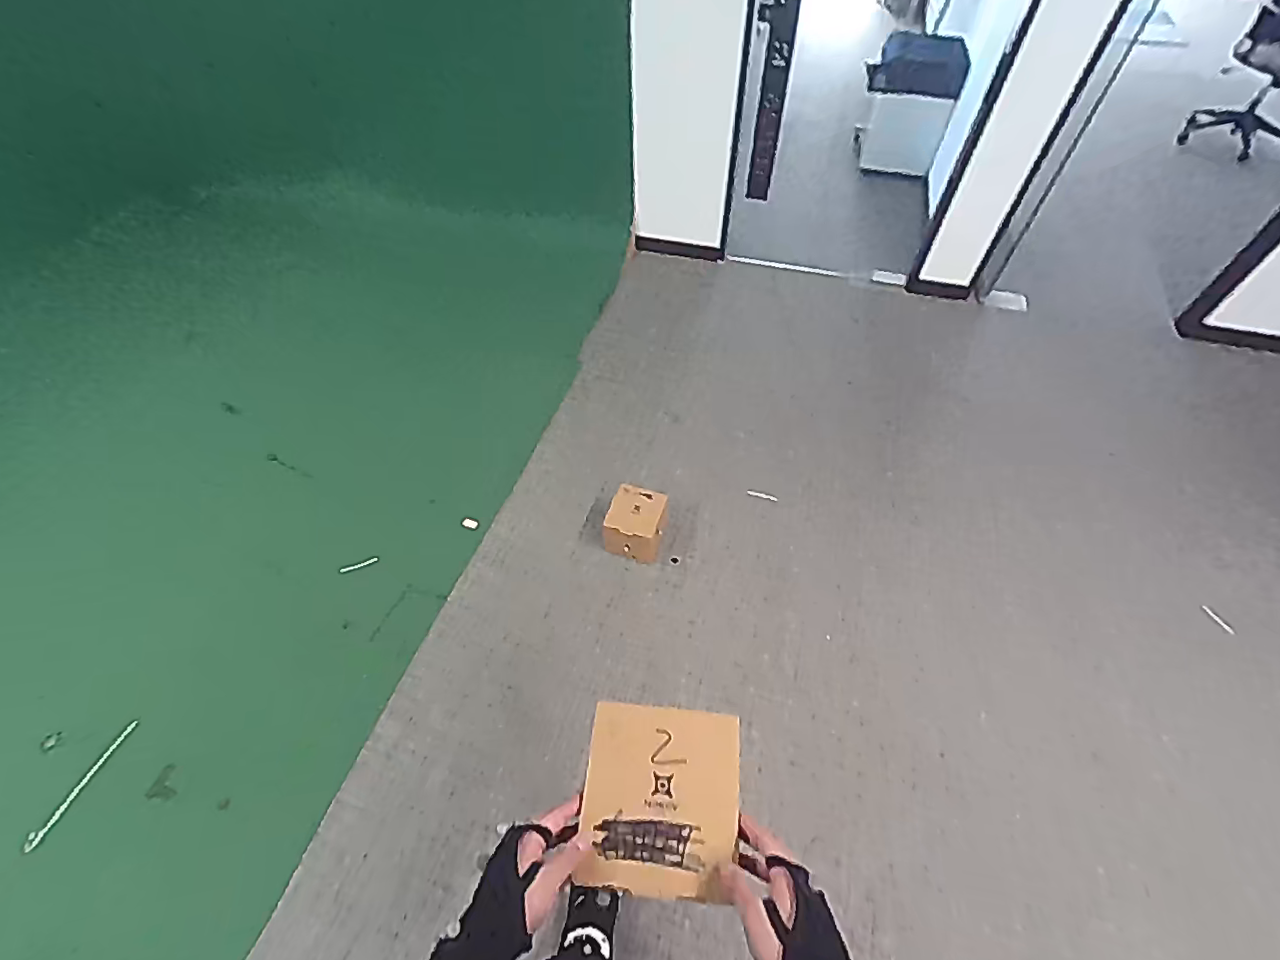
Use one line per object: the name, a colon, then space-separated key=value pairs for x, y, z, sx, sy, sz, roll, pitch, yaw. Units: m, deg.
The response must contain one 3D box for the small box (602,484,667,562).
small box: x=-0.012 y=0.146 z=1.774 sx=0.168 sy=0.176 sz=0.179 roll=15 pitch=55 yaw=12
